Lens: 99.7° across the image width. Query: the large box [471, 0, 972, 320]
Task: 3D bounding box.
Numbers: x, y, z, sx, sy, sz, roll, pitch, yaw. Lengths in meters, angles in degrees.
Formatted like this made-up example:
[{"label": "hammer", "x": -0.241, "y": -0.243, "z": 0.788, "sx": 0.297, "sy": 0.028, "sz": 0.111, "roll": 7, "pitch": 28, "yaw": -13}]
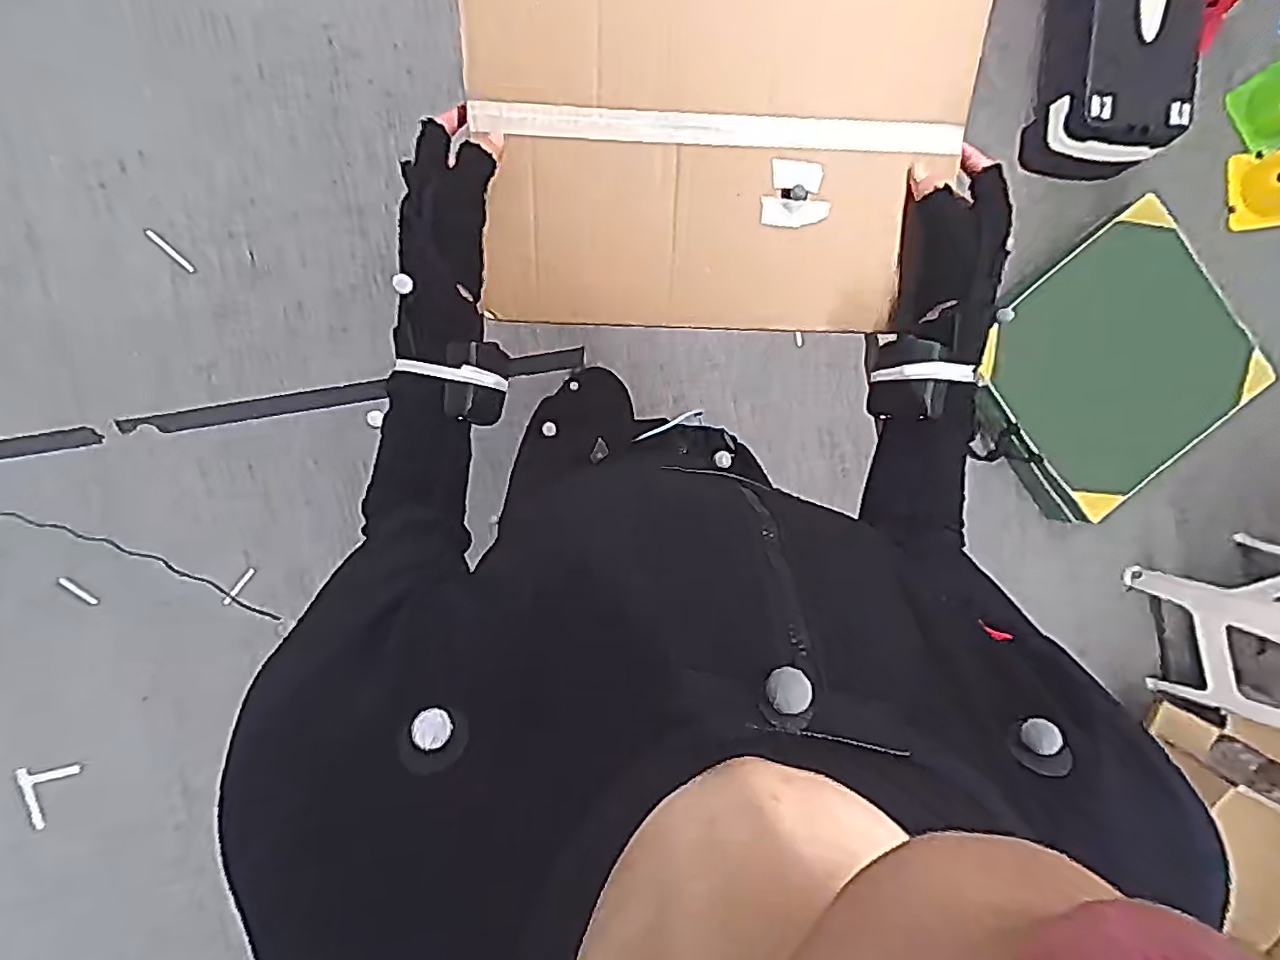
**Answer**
[{"label": "large box", "x": 0.056, "y": -0.355, "z": 0.594, "sx": 0.408, "sy": 0.320, "sz": 0.320, "roll": 1, "pitch": 113, "yaw": -4}]
